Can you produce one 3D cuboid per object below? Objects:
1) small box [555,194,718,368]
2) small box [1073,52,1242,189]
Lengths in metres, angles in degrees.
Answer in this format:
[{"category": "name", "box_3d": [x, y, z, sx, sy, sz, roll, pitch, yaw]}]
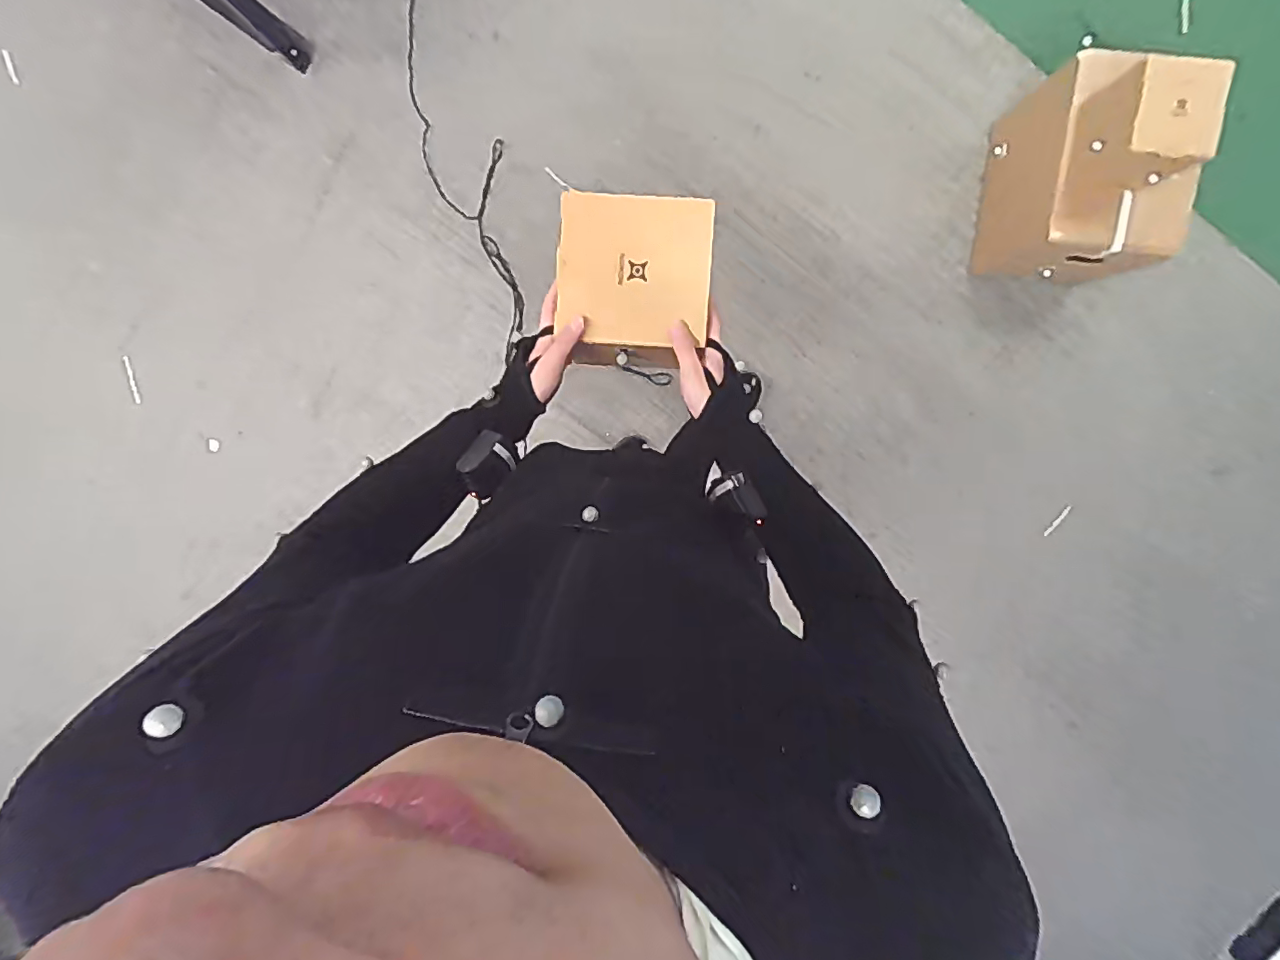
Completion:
[{"category": "small box", "box_3d": [-0.003, -0.237, 0.682, 0.179, 0.176, 0.168, 3, 94, 2]}, {"category": "small box", "box_3d": [1.032, -0.717, 1.098, 0.168, 0.176, 0.179, 6, 98, 1]}]
